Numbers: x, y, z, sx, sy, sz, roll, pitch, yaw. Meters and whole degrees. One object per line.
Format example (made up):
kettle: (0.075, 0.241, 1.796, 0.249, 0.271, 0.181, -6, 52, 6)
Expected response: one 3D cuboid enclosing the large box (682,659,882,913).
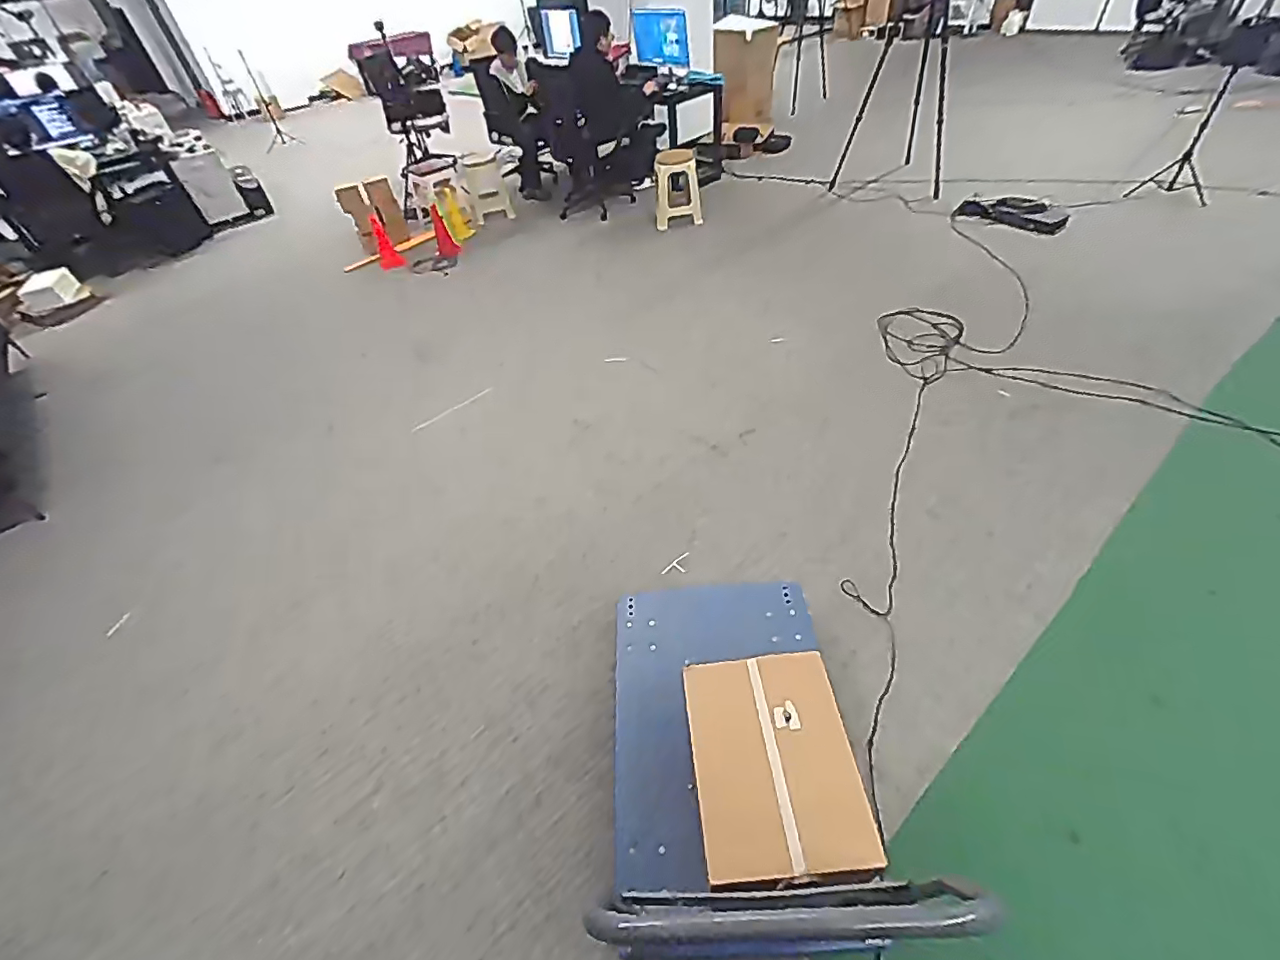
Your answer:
large box: (0.278, 0.669, 1.195, 0.320, 0.320, 0.408, -6, 44, 1)
